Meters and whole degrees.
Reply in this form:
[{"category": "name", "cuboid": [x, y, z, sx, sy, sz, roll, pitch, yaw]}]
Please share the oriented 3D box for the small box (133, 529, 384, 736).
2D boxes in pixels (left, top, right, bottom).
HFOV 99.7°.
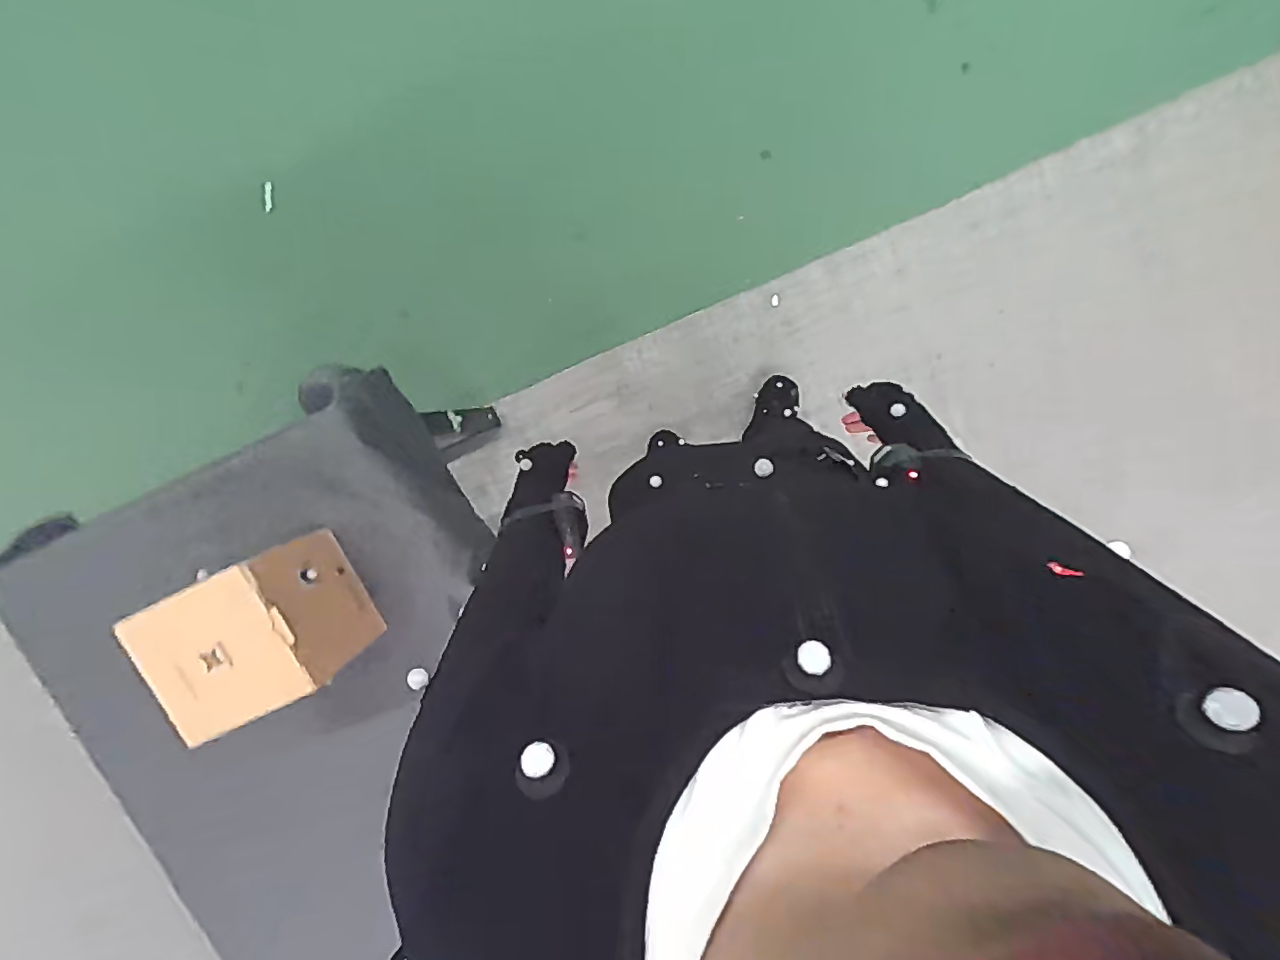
[{"category": "small box", "cuboid": [-0.466, 0.183, 0.697, 0.179, 0.176, 0.168, -26, 97, 8]}]
